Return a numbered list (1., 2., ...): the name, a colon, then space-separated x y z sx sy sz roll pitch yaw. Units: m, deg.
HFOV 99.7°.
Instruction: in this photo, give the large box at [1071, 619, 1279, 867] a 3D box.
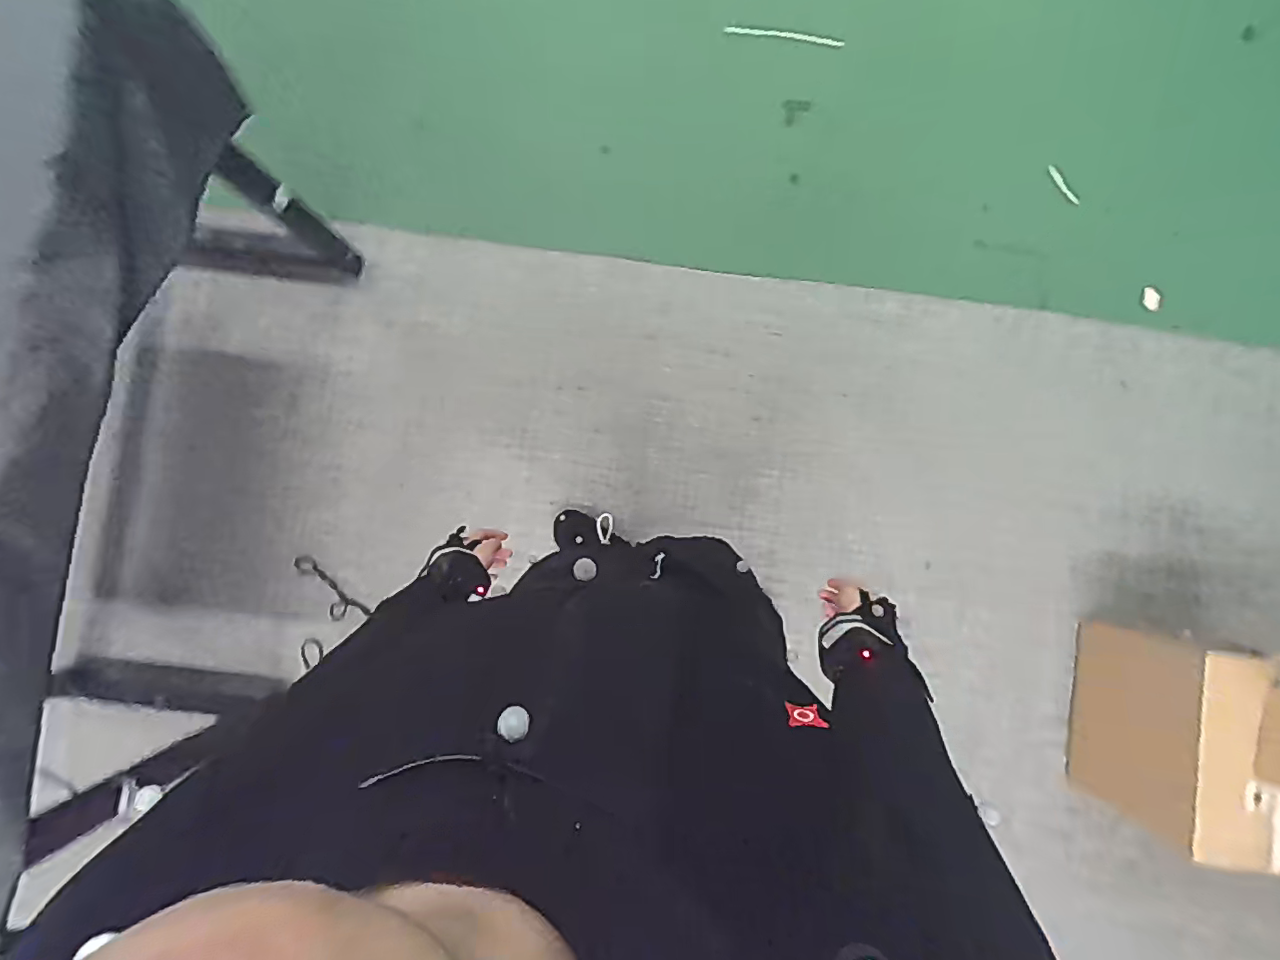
1. large box: 1.227 0.547 1.192 0.320 0.320 0.408 6 88 1
